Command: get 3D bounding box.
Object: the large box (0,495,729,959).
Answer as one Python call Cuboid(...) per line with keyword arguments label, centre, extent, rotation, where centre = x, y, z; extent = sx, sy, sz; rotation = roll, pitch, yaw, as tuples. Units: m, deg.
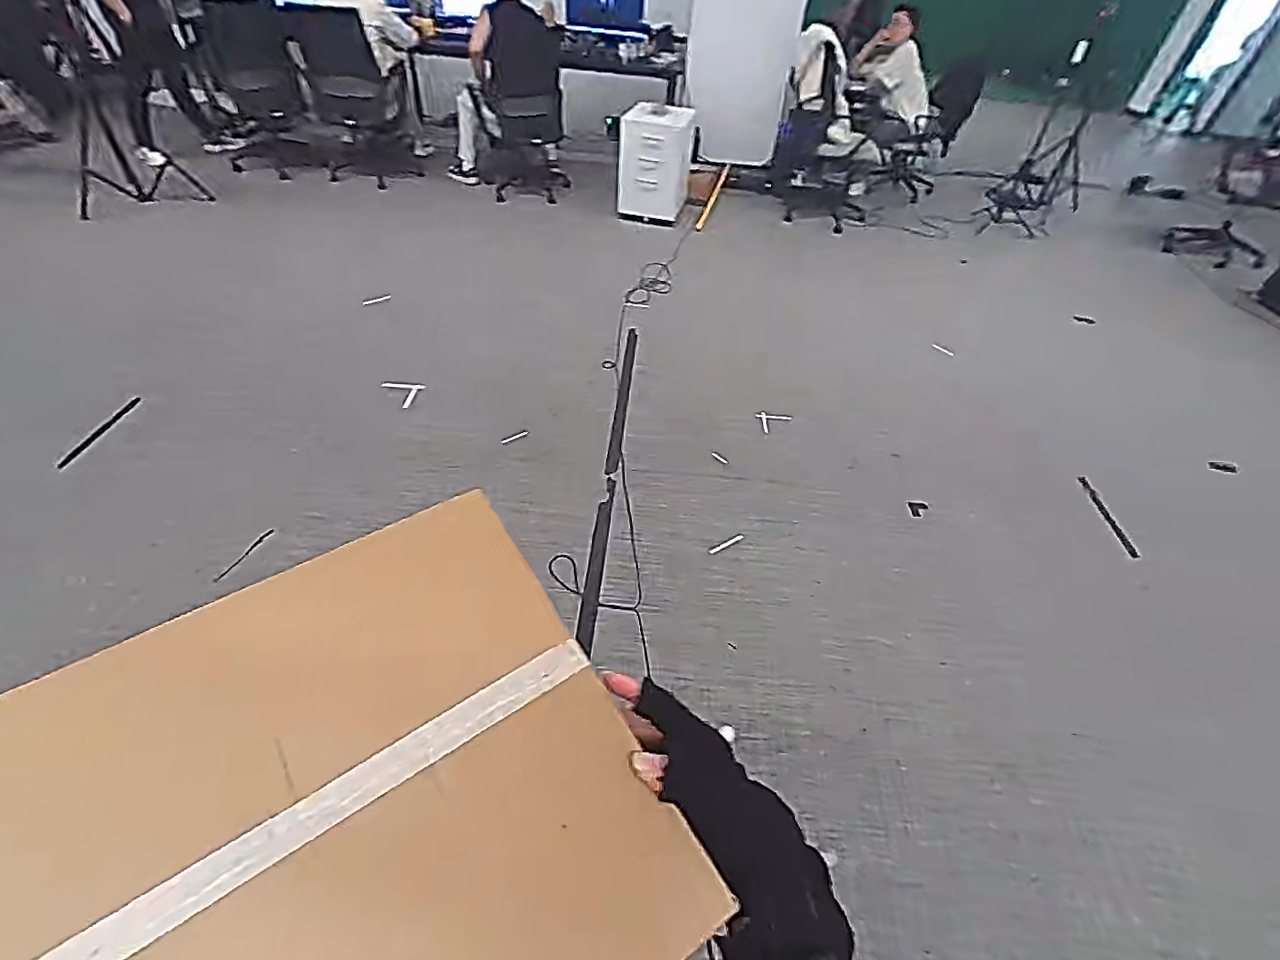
Cuboid(label="large box", centre=(-0.208, 0.285, 0.406), extent=(0.408, 0.320, 0.320), rotation=(-25, 61, -23))
